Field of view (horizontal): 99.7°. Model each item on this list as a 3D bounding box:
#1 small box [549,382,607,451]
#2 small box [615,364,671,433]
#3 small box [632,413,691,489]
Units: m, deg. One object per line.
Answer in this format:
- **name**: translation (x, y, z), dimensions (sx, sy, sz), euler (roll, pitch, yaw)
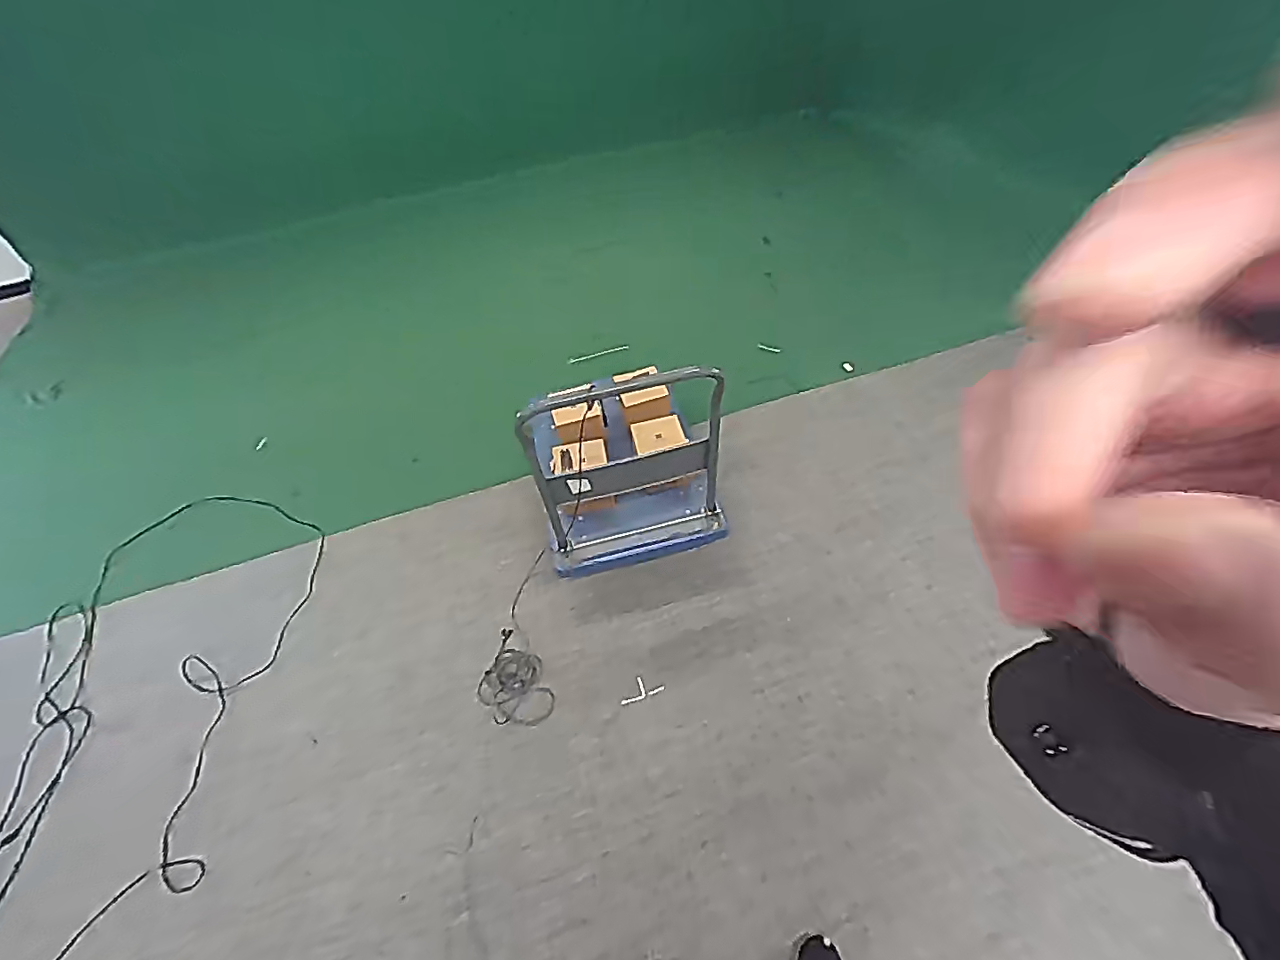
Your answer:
- **small box**: translation (-0.226, -0.227, 1.995), dimensions (0.168, 0.176, 0.179), euler (-16, 51, -7)
- **small box**: translation (0.014, -0.299, 2.022), dimensions (0.168, 0.176, 0.179), euler (-17, 52, -5)
- **small box**: translation (0.074, -0.098, 1.852), dimensions (0.168, 0.176, 0.179), euler (-13, 51, -3)
